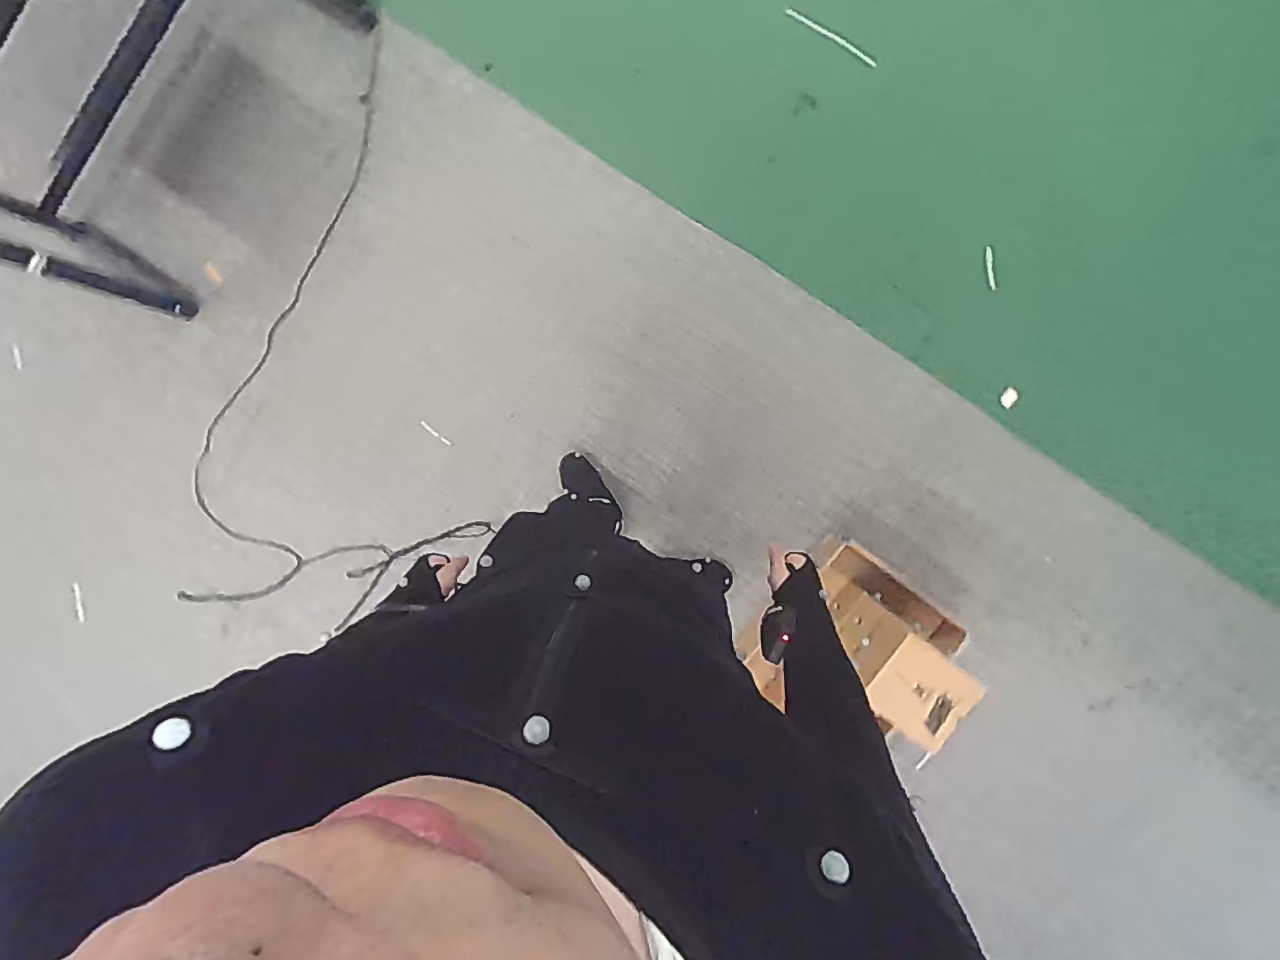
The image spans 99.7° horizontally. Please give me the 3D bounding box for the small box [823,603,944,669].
[{"bbox_3d":[0.560,0.410,1.273,0.179,0.176,0.168,37,94,5],"label":"small box"}]

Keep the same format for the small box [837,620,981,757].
[{"bbox_3d":[0.539,0.413,1.110,0.179,0.176,0.168,37,94,6],"label":"small box"}]

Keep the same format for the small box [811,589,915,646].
[{"bbox_3d":[0.581,0.408,1.433,0.179,0.176,0.168,38,94,5],"label":"small box"}]
